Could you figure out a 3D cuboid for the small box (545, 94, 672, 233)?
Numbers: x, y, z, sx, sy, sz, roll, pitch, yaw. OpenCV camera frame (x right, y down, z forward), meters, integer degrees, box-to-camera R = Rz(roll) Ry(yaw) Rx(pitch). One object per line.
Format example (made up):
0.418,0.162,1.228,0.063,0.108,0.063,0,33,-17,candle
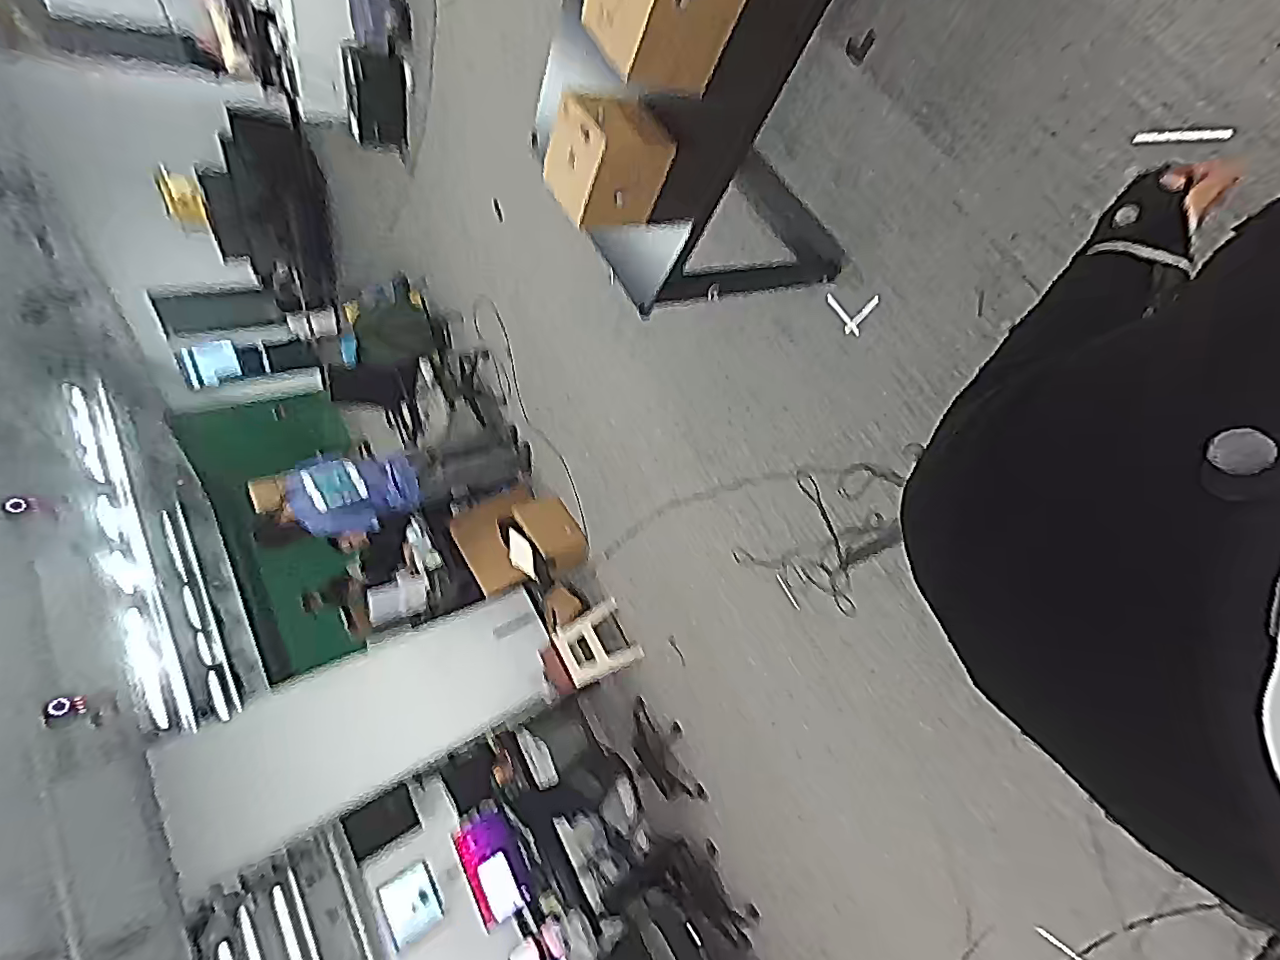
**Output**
-0.063,-0.618,1.069,0.168,0.176,0.179,58,145,18,small box

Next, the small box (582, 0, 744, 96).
0.039,-0.752,0.854,0.168,0.176,0.179,61,146,16,small box
